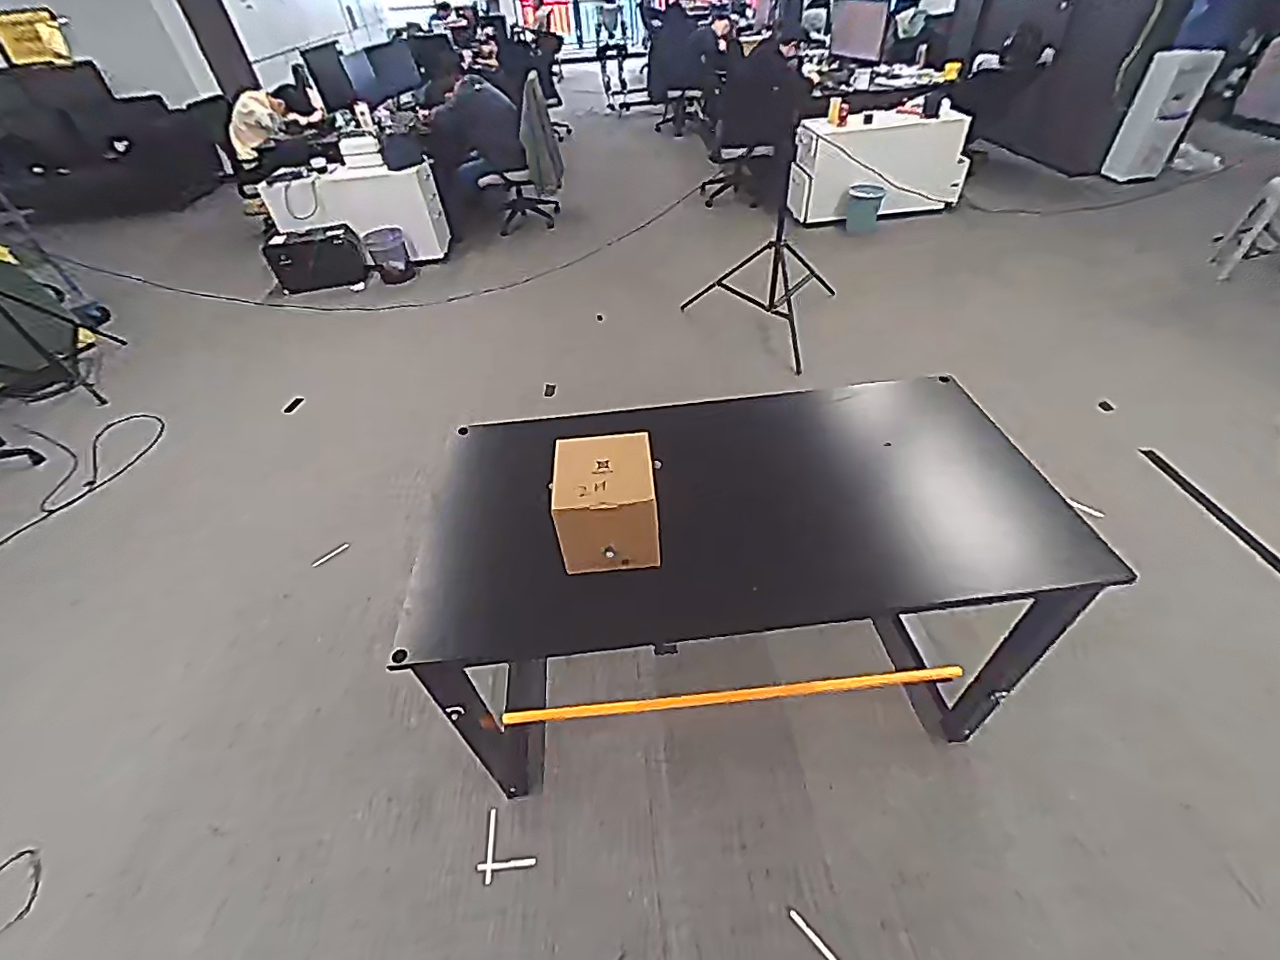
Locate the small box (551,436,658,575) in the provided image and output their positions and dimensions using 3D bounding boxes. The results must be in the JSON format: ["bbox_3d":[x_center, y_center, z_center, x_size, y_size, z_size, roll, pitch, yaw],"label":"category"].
[{"bbox_3d":[-0.059,0.045,0.962,0.168,0.176,0.179,-6,44,1],"label":"small box"}]
